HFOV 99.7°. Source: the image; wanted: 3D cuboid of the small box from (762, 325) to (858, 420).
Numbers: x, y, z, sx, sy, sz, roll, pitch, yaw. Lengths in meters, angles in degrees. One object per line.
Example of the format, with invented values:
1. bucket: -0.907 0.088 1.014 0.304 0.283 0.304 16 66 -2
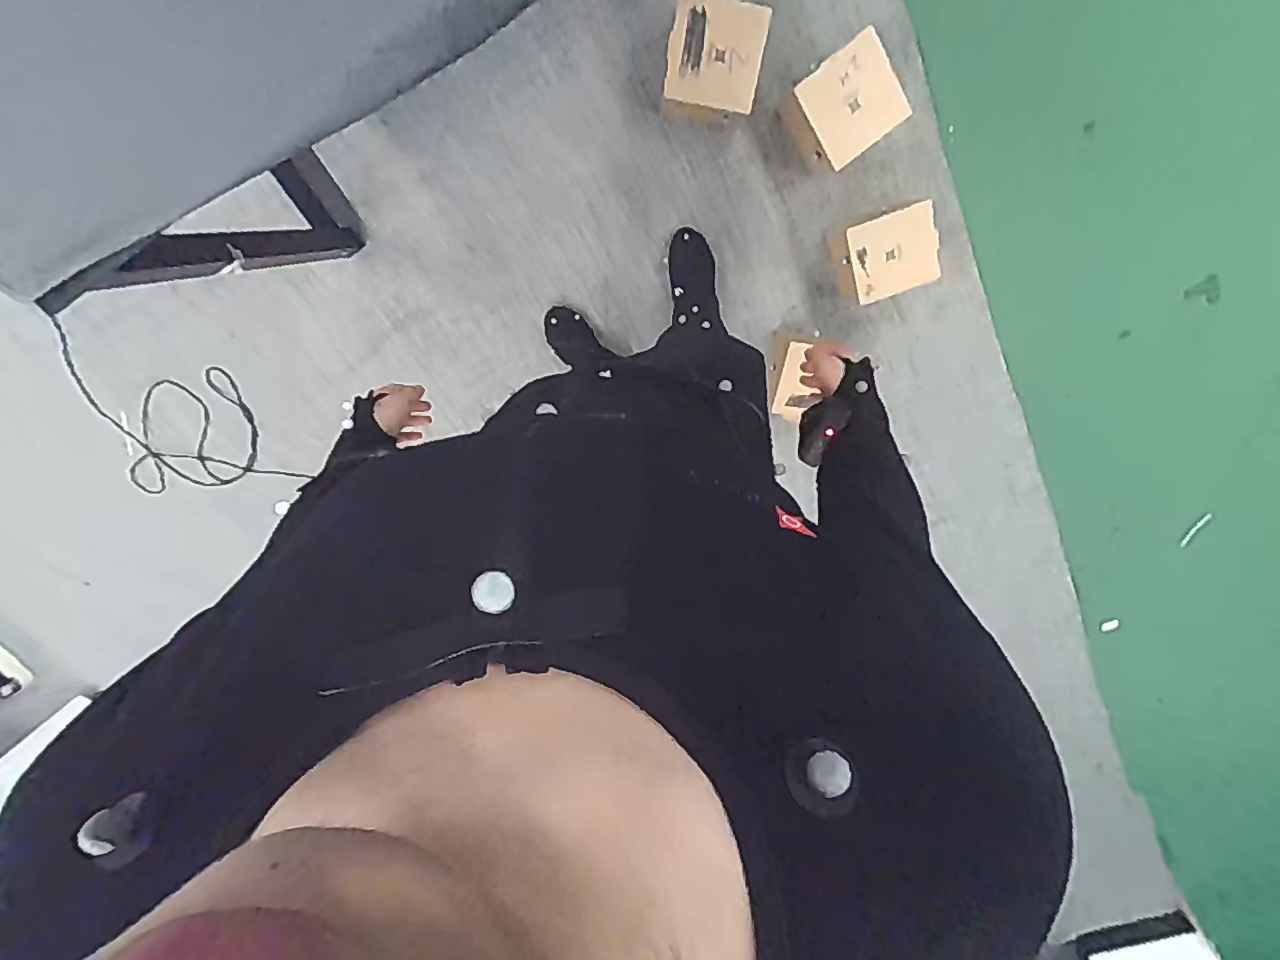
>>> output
1. small box: 0.407 -0.269 1.333 0.168 0.176 0.179 9 116 -2

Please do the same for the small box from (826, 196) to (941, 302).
1. small box: 0.537 -0.517 1.203 0.179 0.176 0.168 -17 115 10

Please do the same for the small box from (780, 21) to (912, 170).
1. small box: 0.406 -0.757 1.089 0.168 0.176 0.179 -33 111 17
